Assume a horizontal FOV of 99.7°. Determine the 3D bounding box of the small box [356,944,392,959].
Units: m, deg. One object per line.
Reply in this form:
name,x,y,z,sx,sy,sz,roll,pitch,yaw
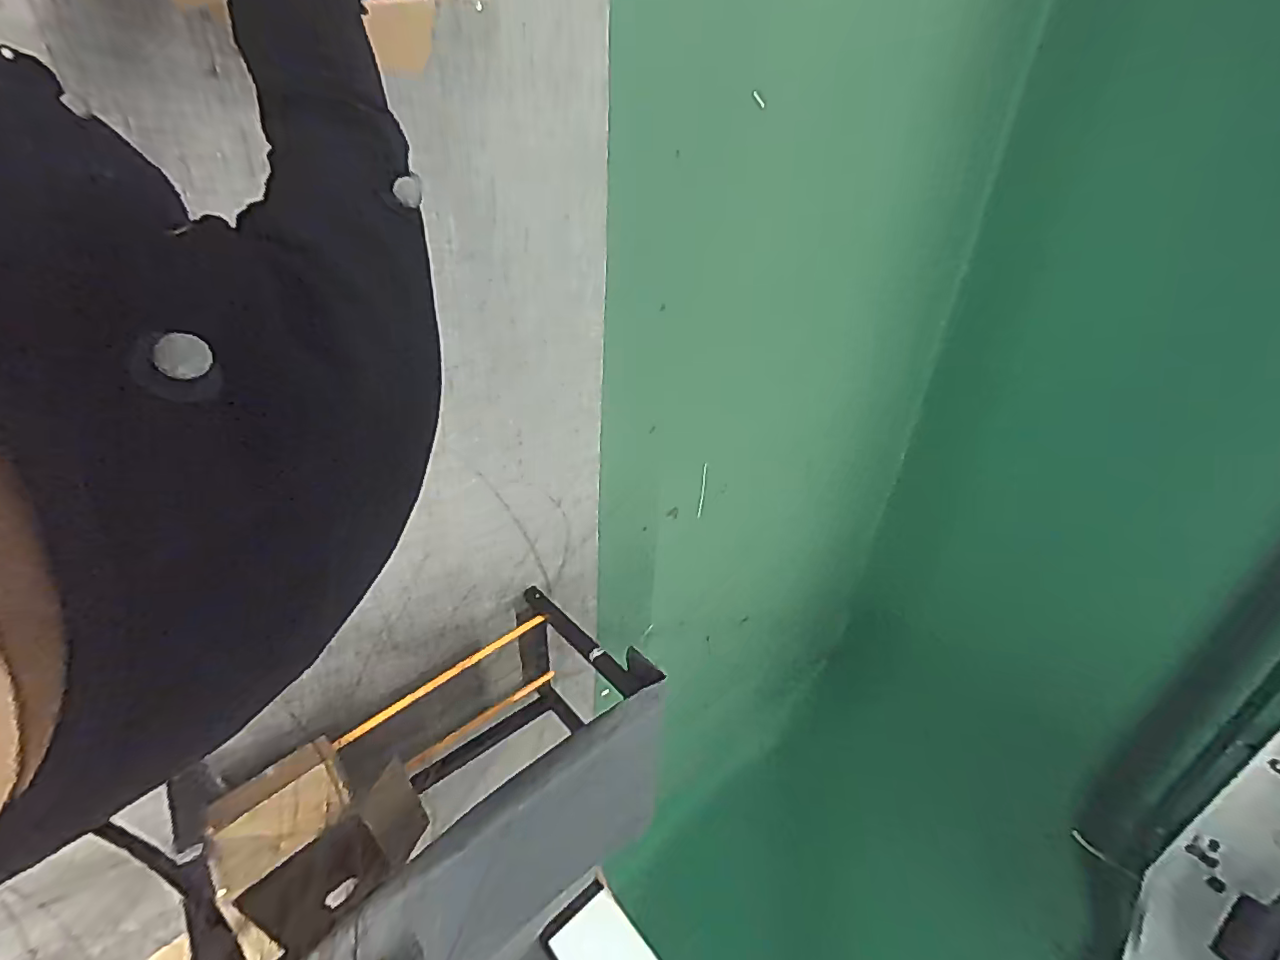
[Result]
small box,-0.619,1.210,1.216,0.168,0.176,0.179,-23,129,-35
